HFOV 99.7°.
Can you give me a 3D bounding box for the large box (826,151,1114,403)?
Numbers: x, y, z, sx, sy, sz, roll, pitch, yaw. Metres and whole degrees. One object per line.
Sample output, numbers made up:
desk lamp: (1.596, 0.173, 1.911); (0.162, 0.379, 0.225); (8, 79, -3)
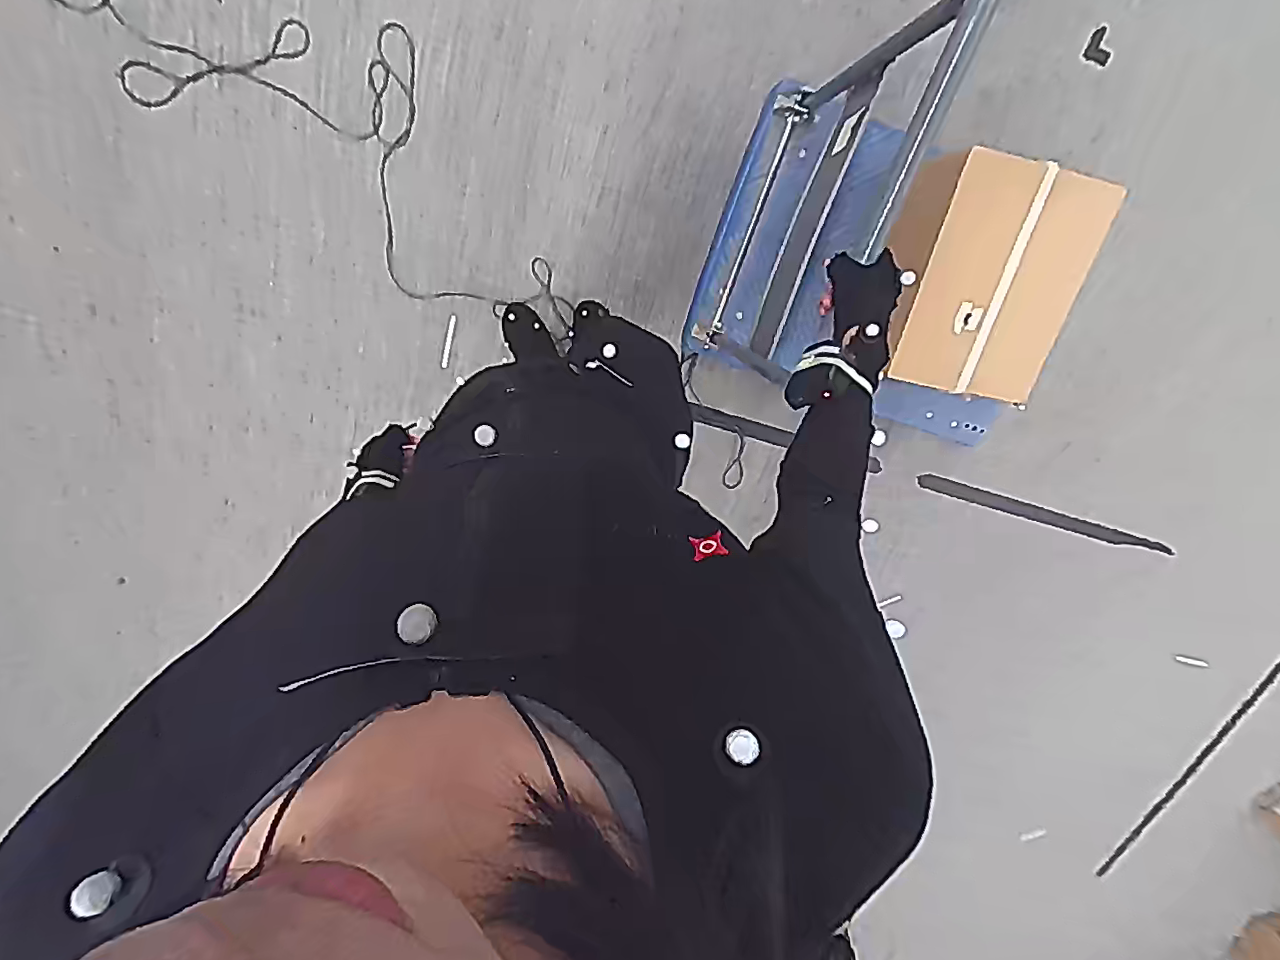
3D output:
large box: (0.650, -0.416, 1.146); (0.320, 0.320, 0.408); (9, 111, -8)
